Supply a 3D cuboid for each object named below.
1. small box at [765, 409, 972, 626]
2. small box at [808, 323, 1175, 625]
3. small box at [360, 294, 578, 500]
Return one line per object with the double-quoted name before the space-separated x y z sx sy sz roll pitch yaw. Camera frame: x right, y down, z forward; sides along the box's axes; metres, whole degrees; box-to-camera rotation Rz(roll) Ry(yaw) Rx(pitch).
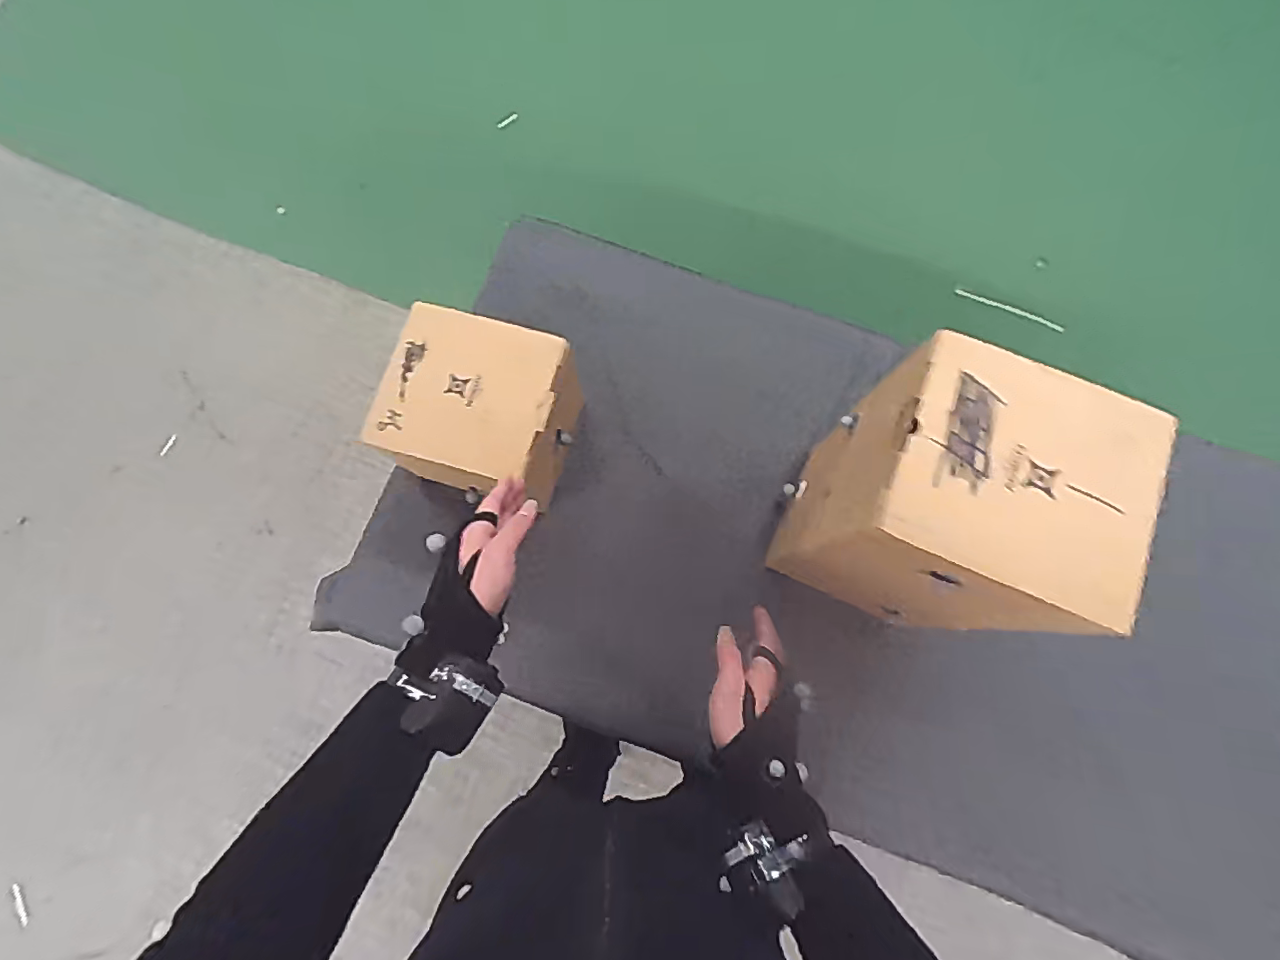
"small box" 0.264 0.049 0.608 0.179 0.176 0.168 24 78 6
"small box" 0.265 0.008 0.448 0.179 0.176 0.168 24 78 4
"small box" -0.179 -0.082 0.635 0.179 0.176 0.168 16 78 2
